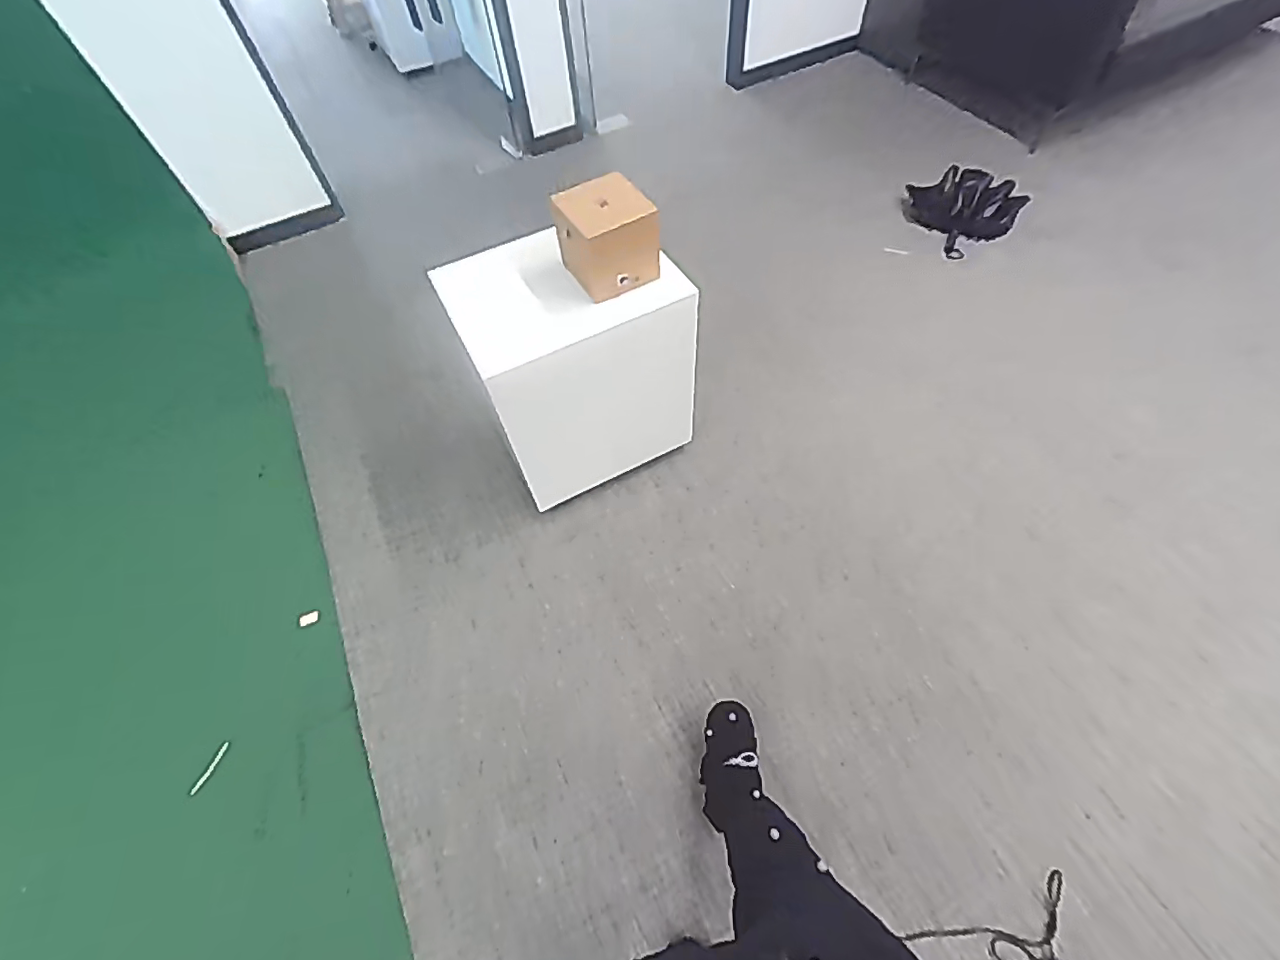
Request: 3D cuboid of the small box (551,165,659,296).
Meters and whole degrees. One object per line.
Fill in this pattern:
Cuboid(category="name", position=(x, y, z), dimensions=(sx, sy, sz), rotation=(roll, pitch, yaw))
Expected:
Cuboid(category="small box", position=(-0.071, -0.531, 1.159), dimensions=(0.168, 0.176, 0.179), rotation=(-28, 62, -12))
